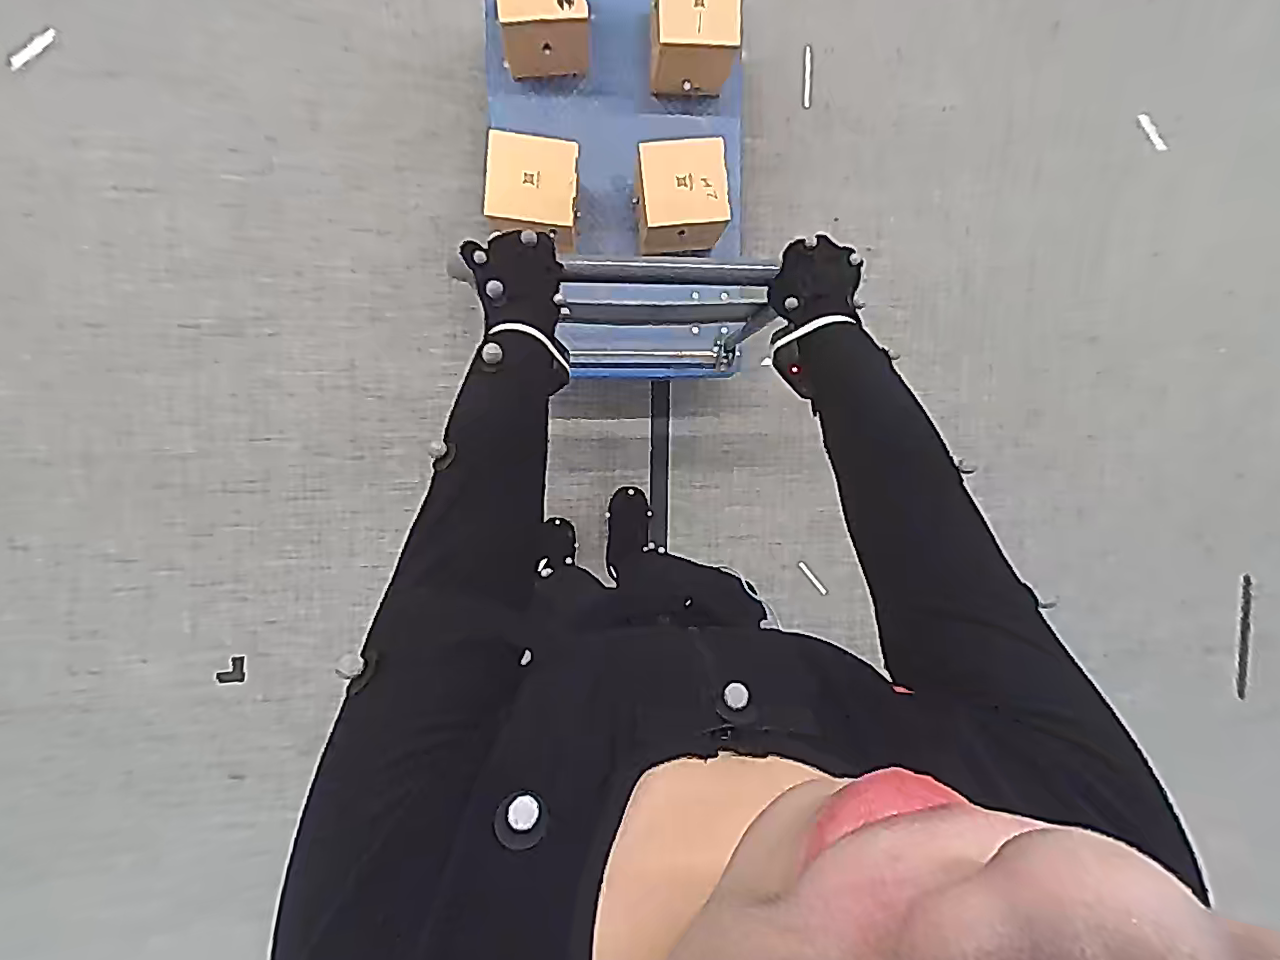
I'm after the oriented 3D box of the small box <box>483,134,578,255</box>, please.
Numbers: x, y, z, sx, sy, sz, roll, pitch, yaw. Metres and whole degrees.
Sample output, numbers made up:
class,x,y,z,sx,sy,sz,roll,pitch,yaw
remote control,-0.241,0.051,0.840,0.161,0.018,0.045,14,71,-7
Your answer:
class,x,y,z,sx,sy,sz,roll,pitch,yaw
small box,-0.226,-0.595,1.150,0.179,0.176,0.168,4,93,-7

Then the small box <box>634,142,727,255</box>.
class,x,y,z,sx,sy,sz,roll,pitch,yaw
small box,0.080,-0.604,1.178,0.179,0.176,0.168,-7,95,-5

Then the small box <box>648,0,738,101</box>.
class,x,y,z,sx,sy,sz,roll,pitch,yaw
small box,0.107,-0.954,1.153,0.168,0.176,0.179,-1,96,-5
